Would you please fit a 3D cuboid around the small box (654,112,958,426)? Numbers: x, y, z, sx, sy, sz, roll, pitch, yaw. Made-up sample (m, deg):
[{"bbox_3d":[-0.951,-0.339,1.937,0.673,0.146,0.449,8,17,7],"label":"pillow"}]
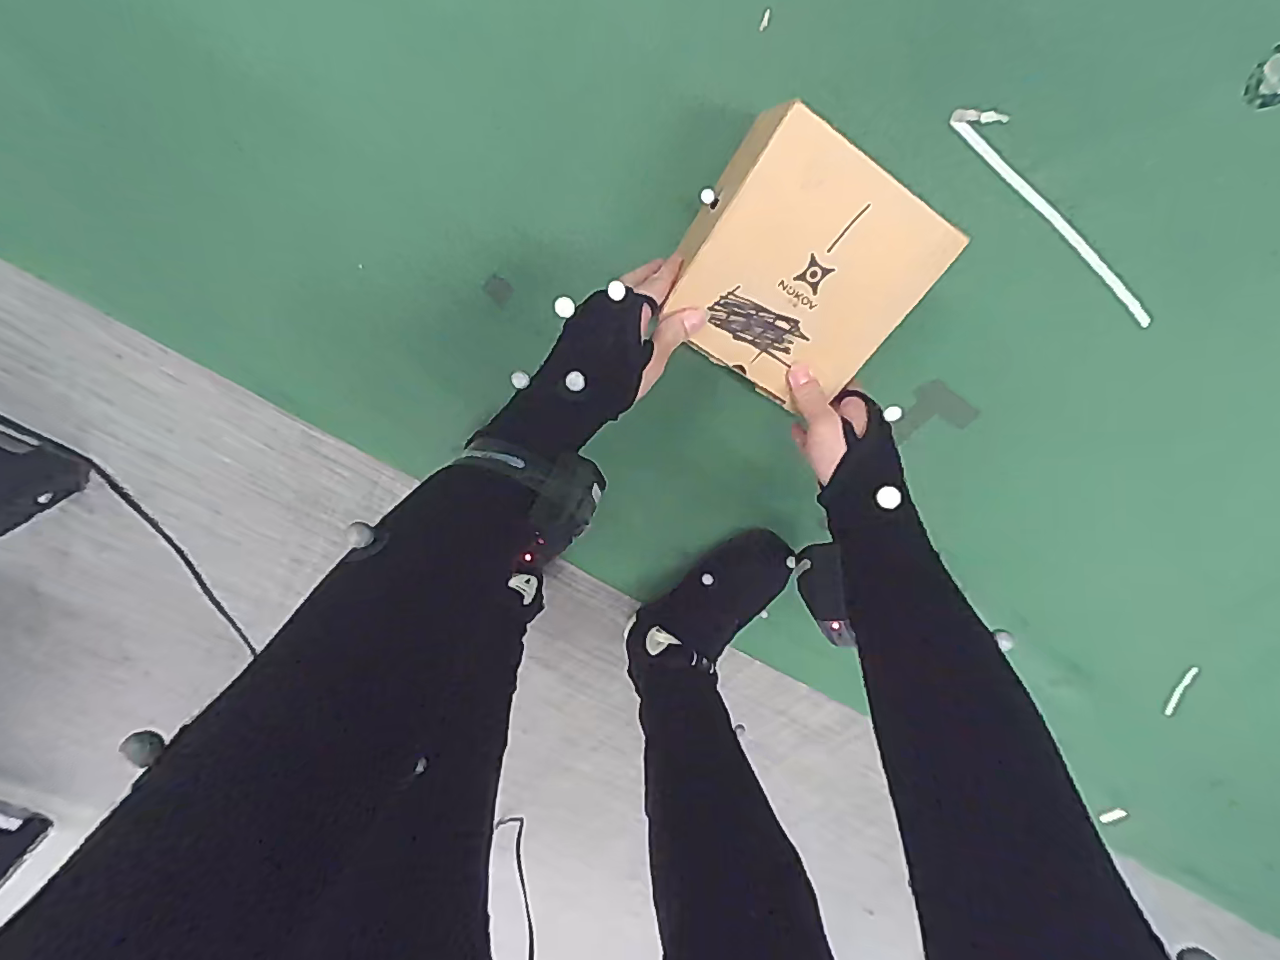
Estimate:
[{"bbox_3d":[0.128,-0.186,0.487,0.168,0.176,0.179,29,117,-14],"label":"small box"}]
